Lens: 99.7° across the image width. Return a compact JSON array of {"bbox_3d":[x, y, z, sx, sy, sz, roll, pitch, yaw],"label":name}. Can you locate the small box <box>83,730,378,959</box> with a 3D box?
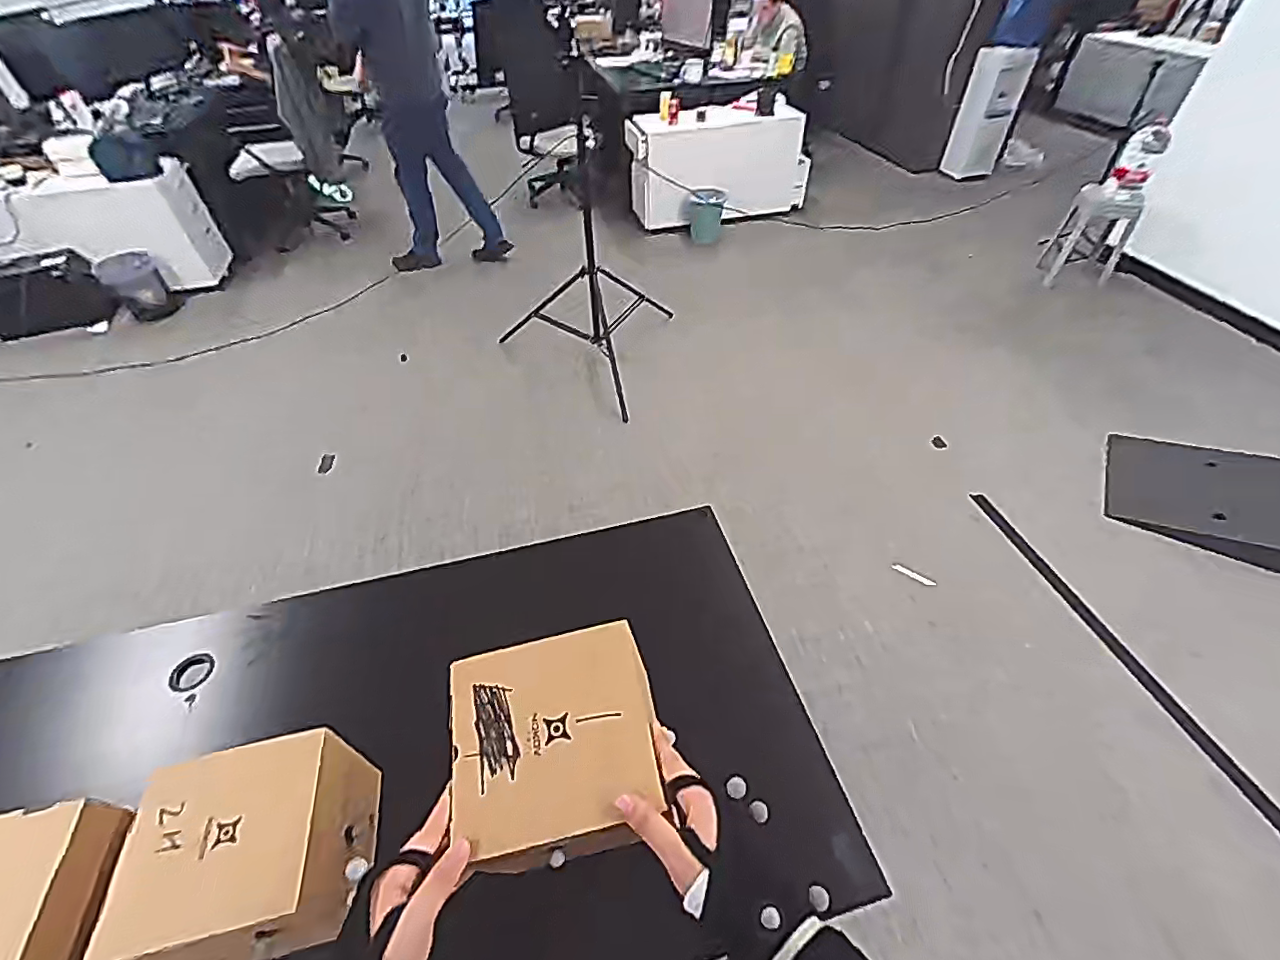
[{"bbox_3d":[-0.400,0.395,0.574,0.179,0.176,0.168,-11,46,-8],"label":"small box"}]

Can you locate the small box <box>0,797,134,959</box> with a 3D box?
[{"bbox_3d":[-0.609,0.450,0.532,0.168,0.176,0.179,-13,48,-8],"label":"small box"}]
